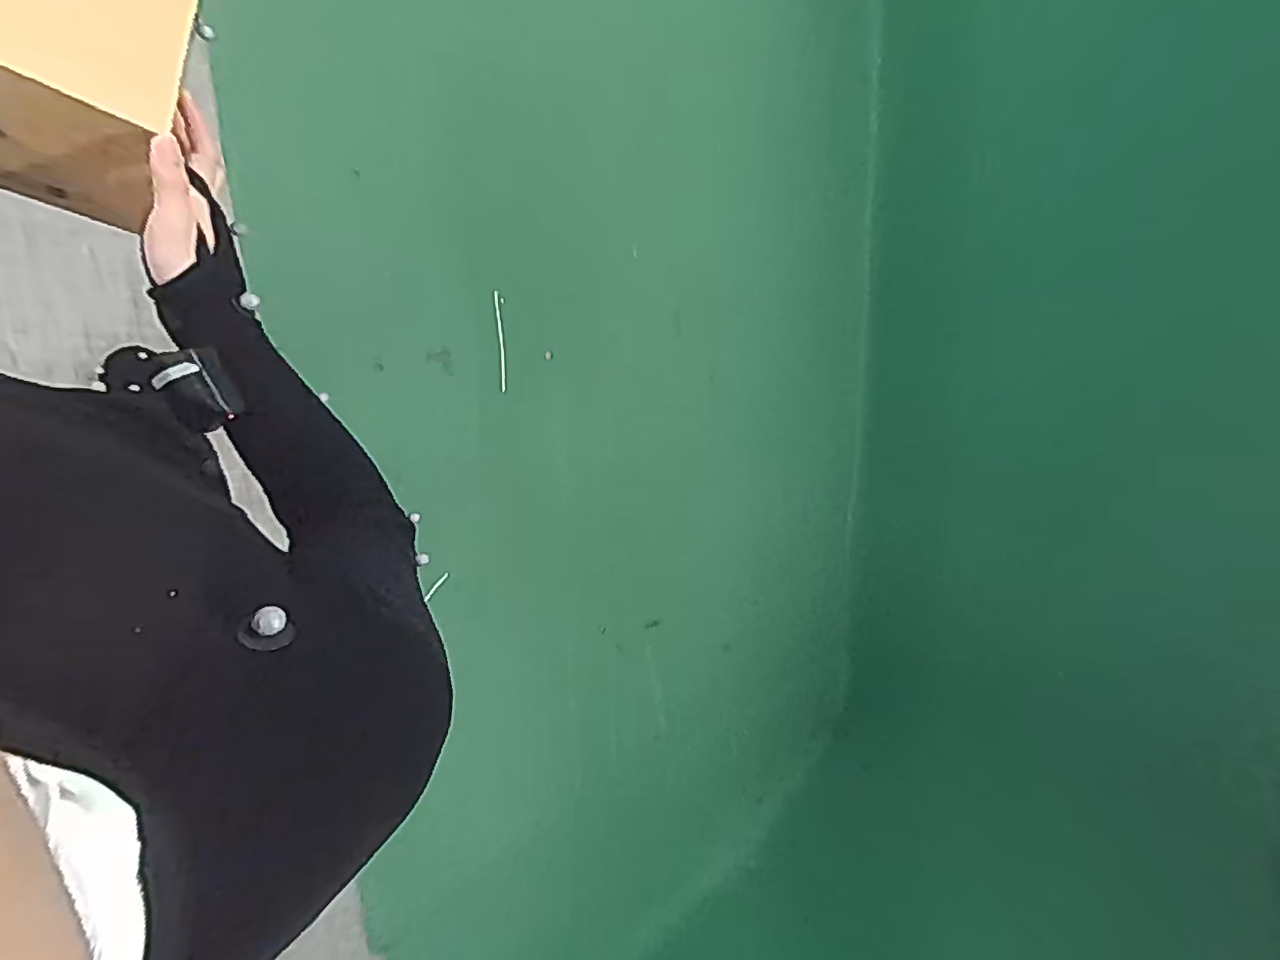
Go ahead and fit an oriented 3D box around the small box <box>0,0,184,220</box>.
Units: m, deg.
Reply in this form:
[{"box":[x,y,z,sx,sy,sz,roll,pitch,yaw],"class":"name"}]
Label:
[{"box":[-0.466,-0.339,0.410,0.168,0.176,0.179,10,74,-44],"class":"small box"}]
